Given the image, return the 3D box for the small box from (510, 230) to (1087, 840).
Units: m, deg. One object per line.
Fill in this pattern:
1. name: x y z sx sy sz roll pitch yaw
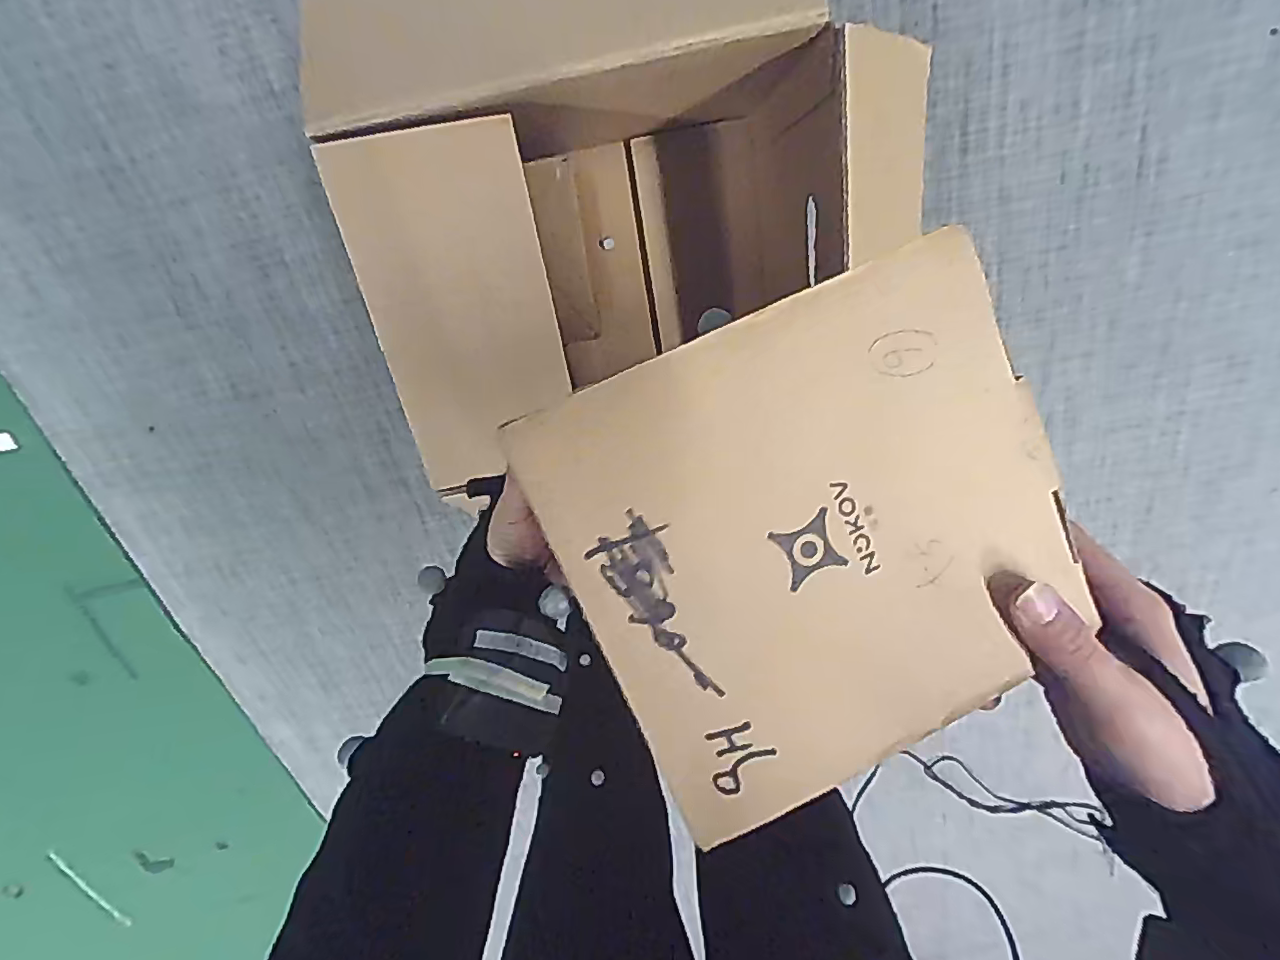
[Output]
1. small box: 0.052 0.013 0.267 0.179 0.176 0.168 -25 97 -7
